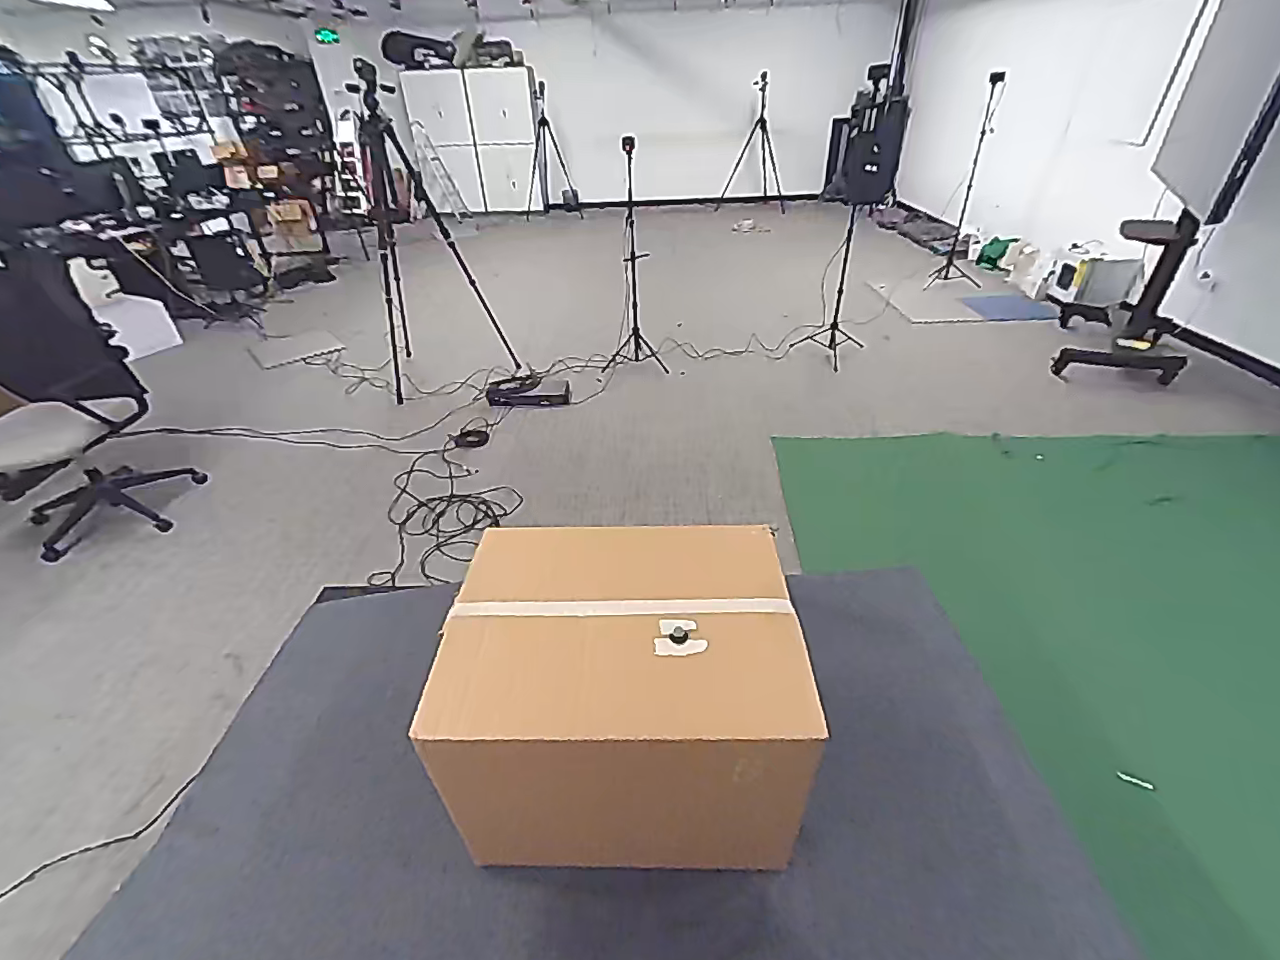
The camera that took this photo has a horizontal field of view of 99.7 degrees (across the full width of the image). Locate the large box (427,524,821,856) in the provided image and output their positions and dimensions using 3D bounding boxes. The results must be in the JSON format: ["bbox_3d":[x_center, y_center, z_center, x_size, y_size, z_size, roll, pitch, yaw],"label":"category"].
[{"bbox_3d":[-0.015,0.278,0.741,0.408,0.320,0.320,-1,36,1],"label":"large box"}]
